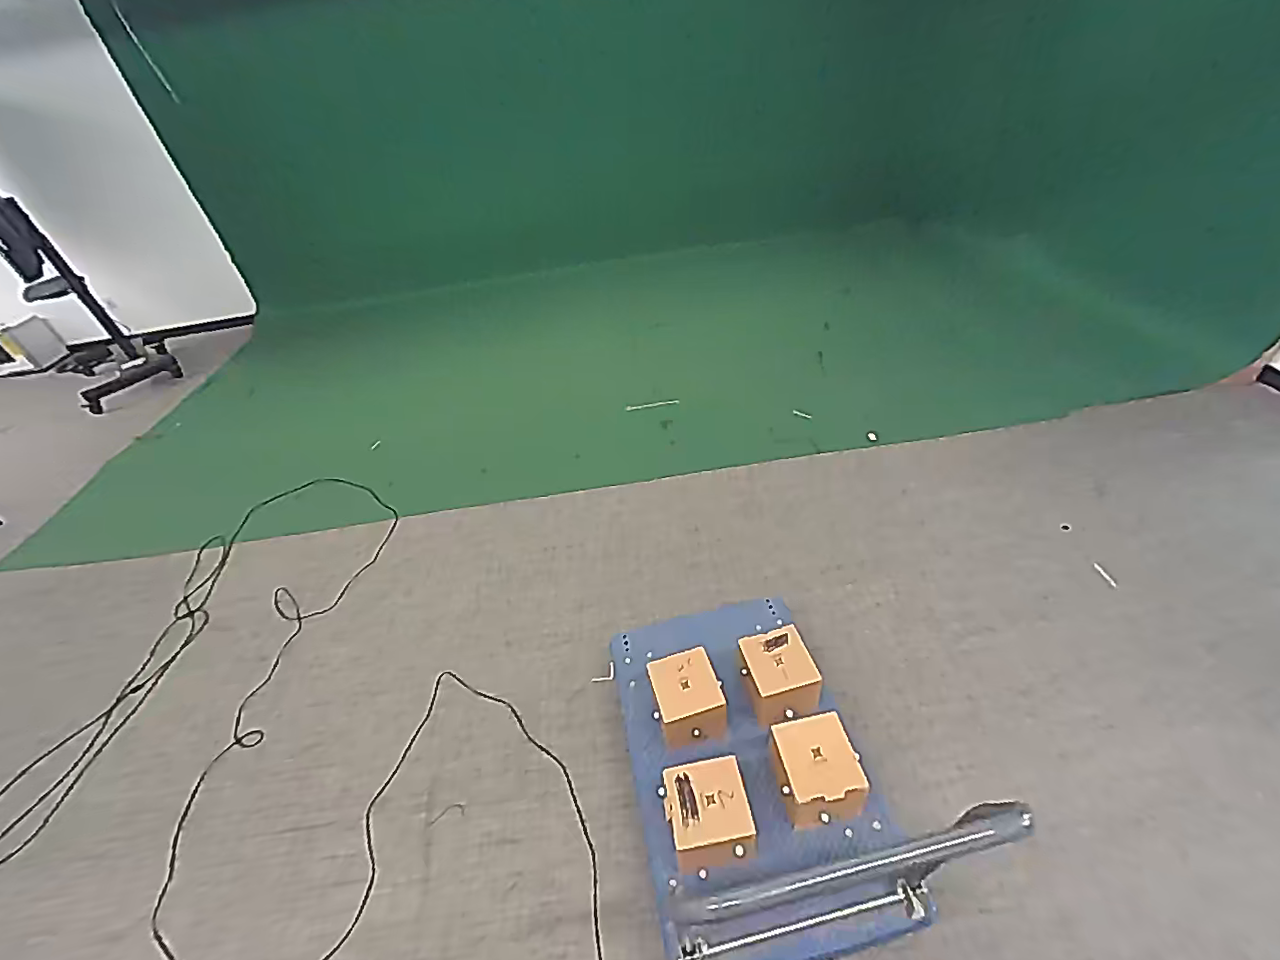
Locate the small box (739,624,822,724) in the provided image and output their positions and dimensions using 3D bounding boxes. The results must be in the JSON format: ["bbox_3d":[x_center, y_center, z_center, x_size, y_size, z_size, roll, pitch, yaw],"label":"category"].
[{"bbox_3d":[0.374,0.528,1.472,0.168,0.176,0.179,-14,41,-5],"label":"small box"}]

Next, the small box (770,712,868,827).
[{"bbox_3d":[0.414,0.688,1.285,0.168,0.176,0.179,-11,40,-2],"label":"small box"}]

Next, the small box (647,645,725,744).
[{"bbox_3d":[0.125,0.583,1.455,0.168,0.176,0.179,-14,41,-7],"label":"small box"}]
